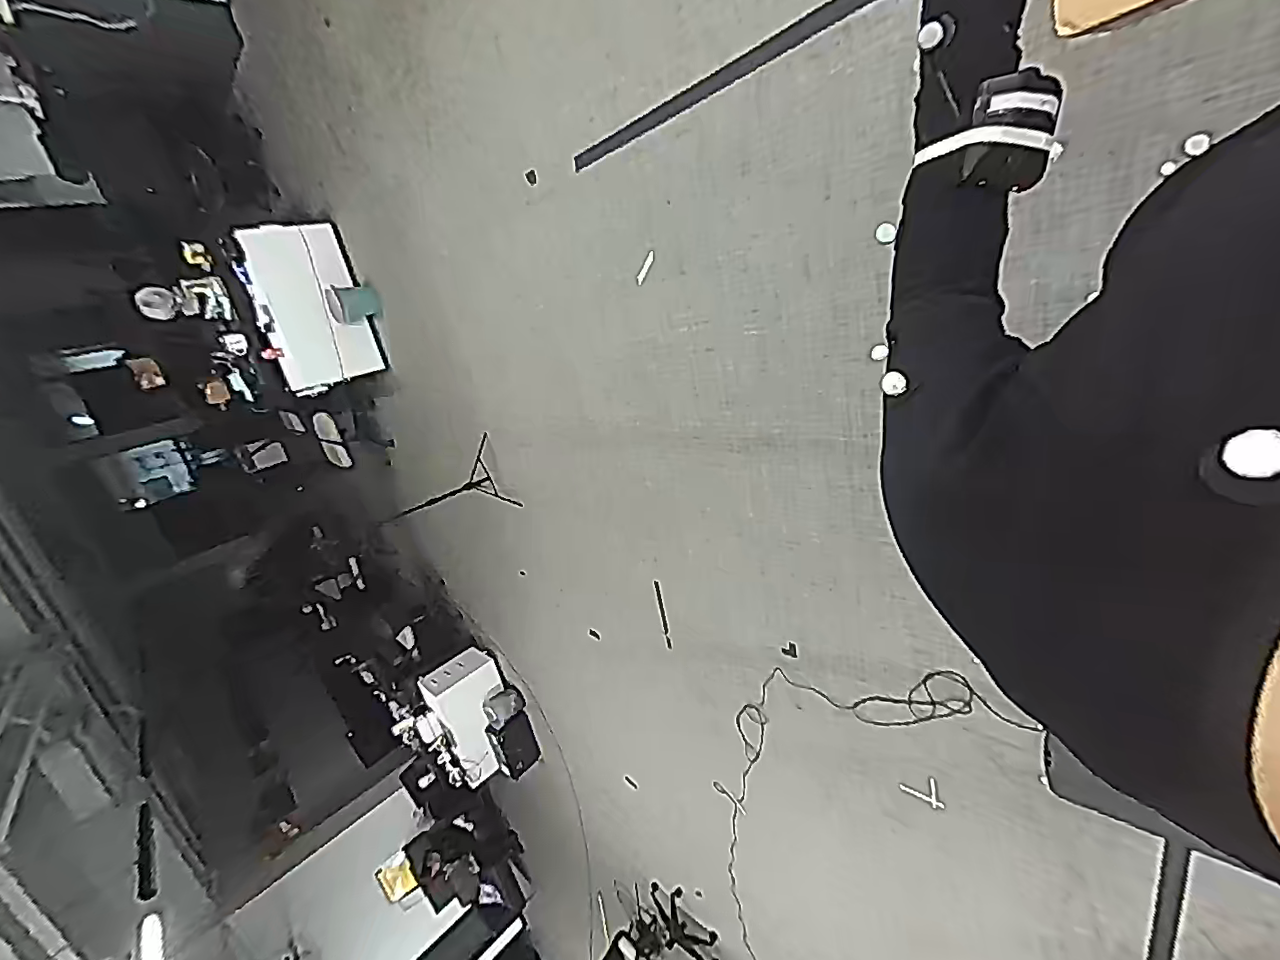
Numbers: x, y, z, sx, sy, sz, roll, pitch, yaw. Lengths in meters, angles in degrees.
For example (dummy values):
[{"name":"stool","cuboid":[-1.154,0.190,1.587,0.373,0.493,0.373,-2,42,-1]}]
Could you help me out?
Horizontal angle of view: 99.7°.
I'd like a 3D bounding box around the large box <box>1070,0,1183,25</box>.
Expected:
[{"name":"large box","cuboid":[0.467,-0.508,0.259,0.408,0.320,0.320,2,122,45]}]
